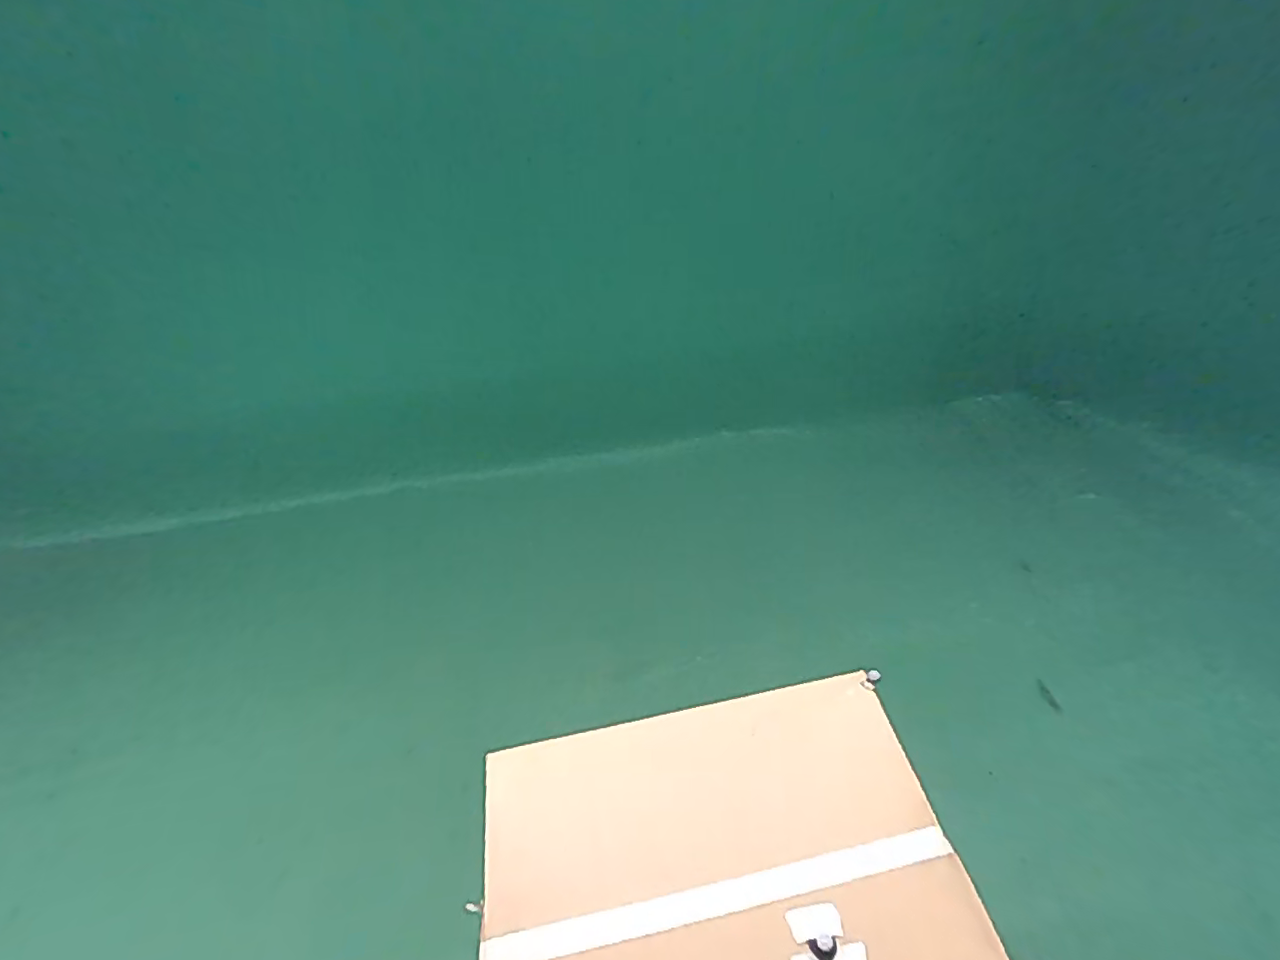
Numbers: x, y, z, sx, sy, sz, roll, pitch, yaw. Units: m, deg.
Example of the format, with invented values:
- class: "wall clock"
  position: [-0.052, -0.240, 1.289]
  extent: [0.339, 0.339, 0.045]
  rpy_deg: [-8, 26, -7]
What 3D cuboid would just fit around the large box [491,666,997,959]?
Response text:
- class: "large box"
  position: [0.079, 0.451, 0.582]
  extent: [0.408, 0.320, 0.320]
  rpy_deg: [-10, 49, -5]
